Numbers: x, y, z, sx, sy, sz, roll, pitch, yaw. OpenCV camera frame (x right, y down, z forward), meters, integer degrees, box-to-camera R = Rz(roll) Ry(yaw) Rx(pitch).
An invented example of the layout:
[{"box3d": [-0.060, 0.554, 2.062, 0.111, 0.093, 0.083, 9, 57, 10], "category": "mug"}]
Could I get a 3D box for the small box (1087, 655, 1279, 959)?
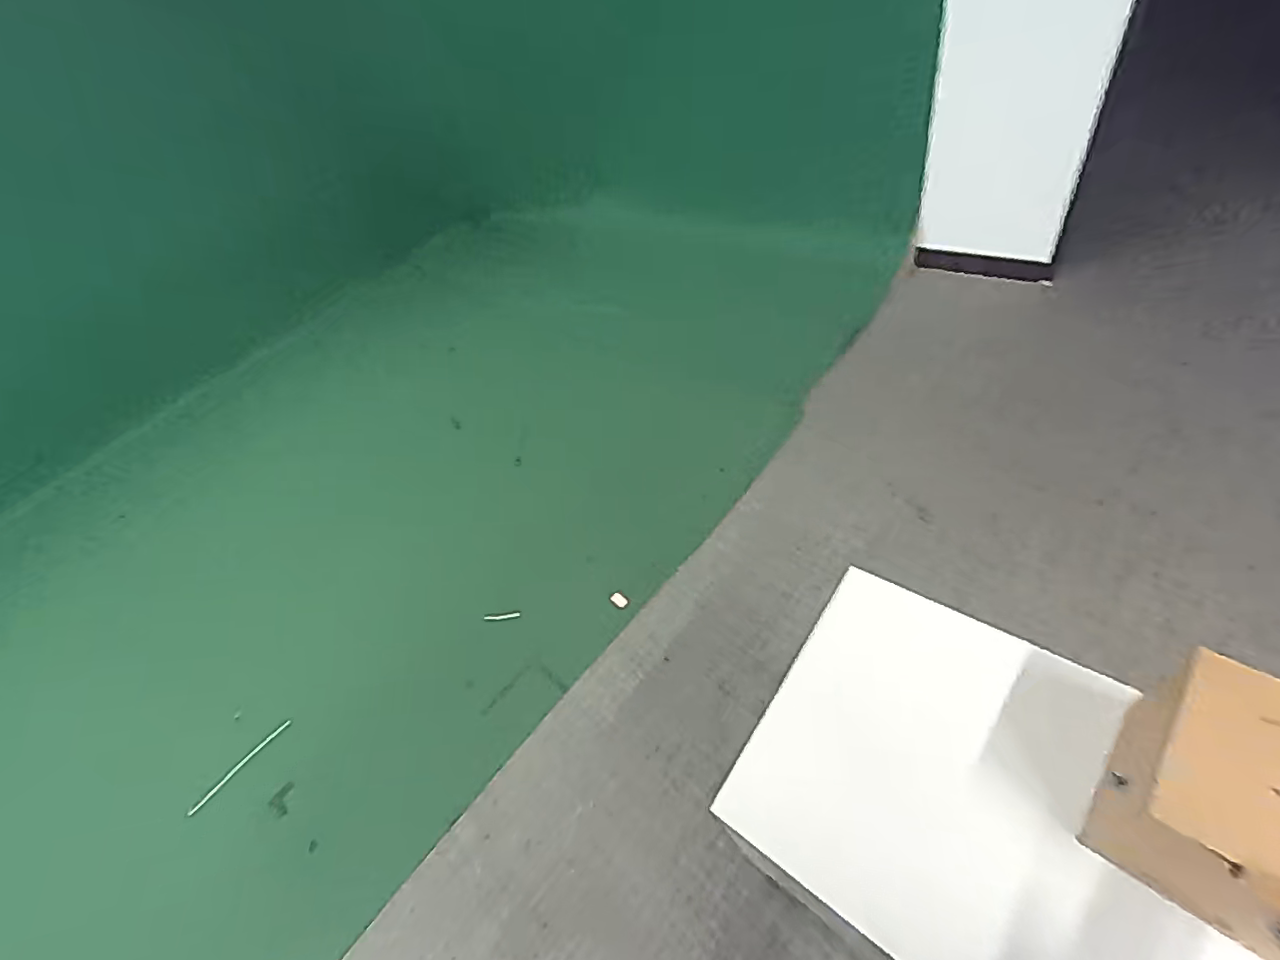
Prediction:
[{"box3d": [0.543, 0.300, 0.484, 0.168, 0.176, 0.179, 27, 63, 35], "category": "small box"}]
